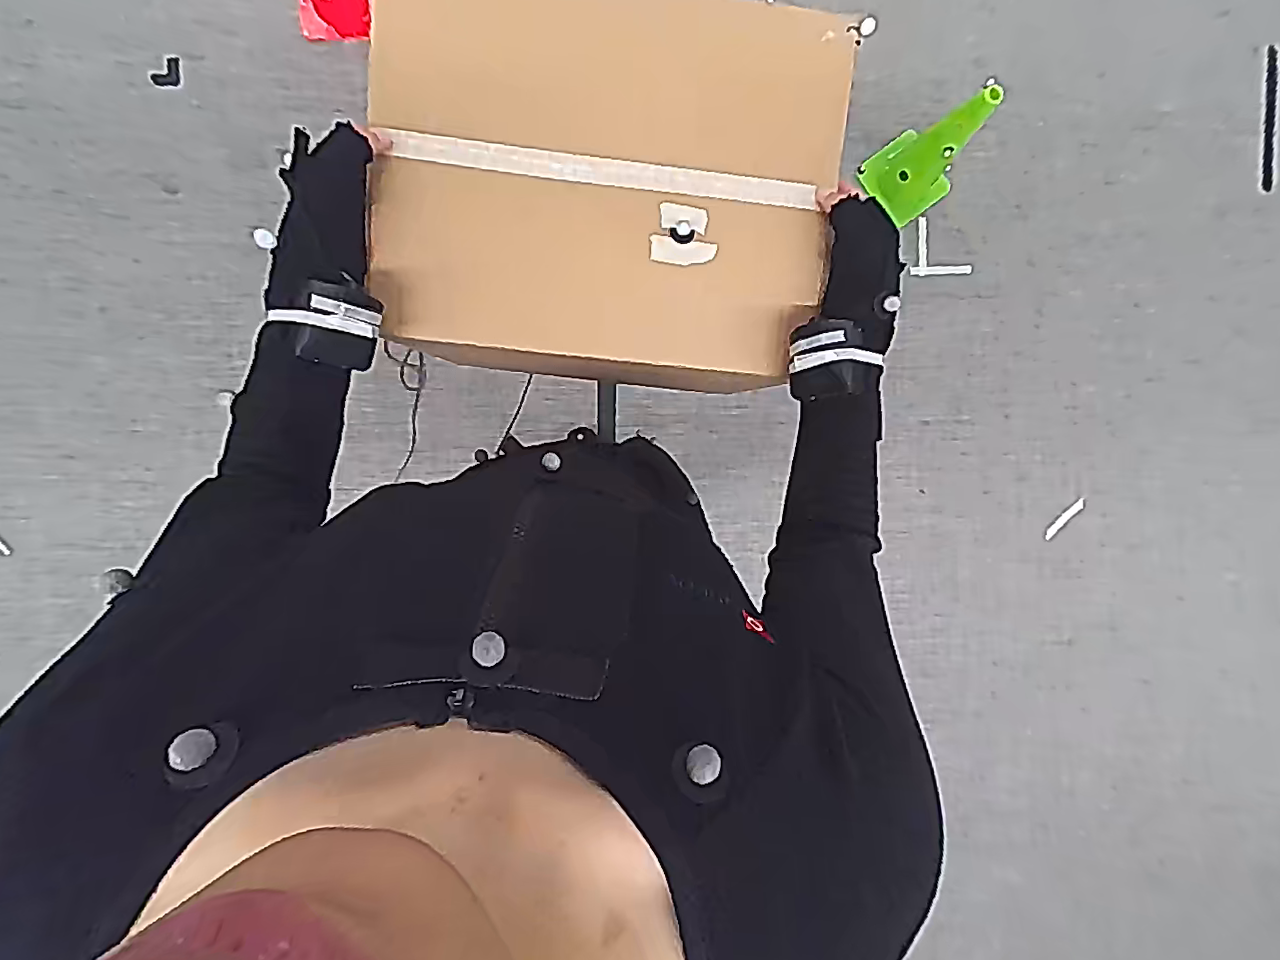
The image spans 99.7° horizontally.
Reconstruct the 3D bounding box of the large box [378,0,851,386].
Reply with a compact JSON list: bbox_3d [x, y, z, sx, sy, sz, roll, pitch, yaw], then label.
[{"bbox_3d":[-0.036,-0.287,0.621,0.408,0.320,0.320,5,97,-6],"label":"large box"}]

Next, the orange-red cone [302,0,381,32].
[{"bbox_3d":[-0.751,-1.219,1.192,0.198,0.360,0.199,-2,95,-2],"label":"orange-red cone"}]

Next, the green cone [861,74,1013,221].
[{"bbox_3d":[0.731,-0.817,1.284,0.202,0.368,0.200,-38,95,-2],"label":"green cone"}]
